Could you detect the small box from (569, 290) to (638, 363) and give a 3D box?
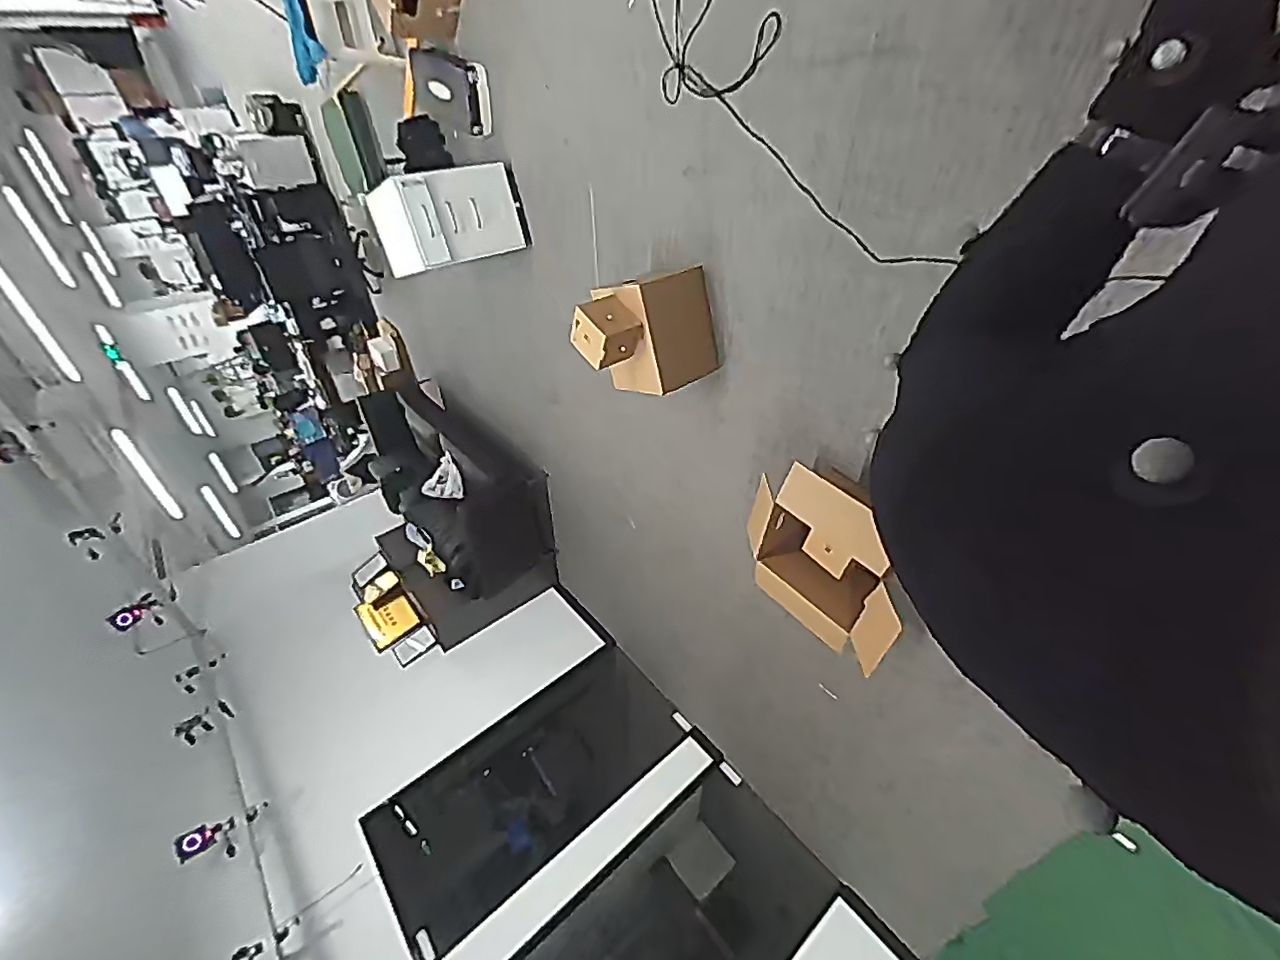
[{"bbox_3d":[-0.130,-0.560,1.954,0.179,0.176,0.168,48,147,17],"label":"small box"}]
